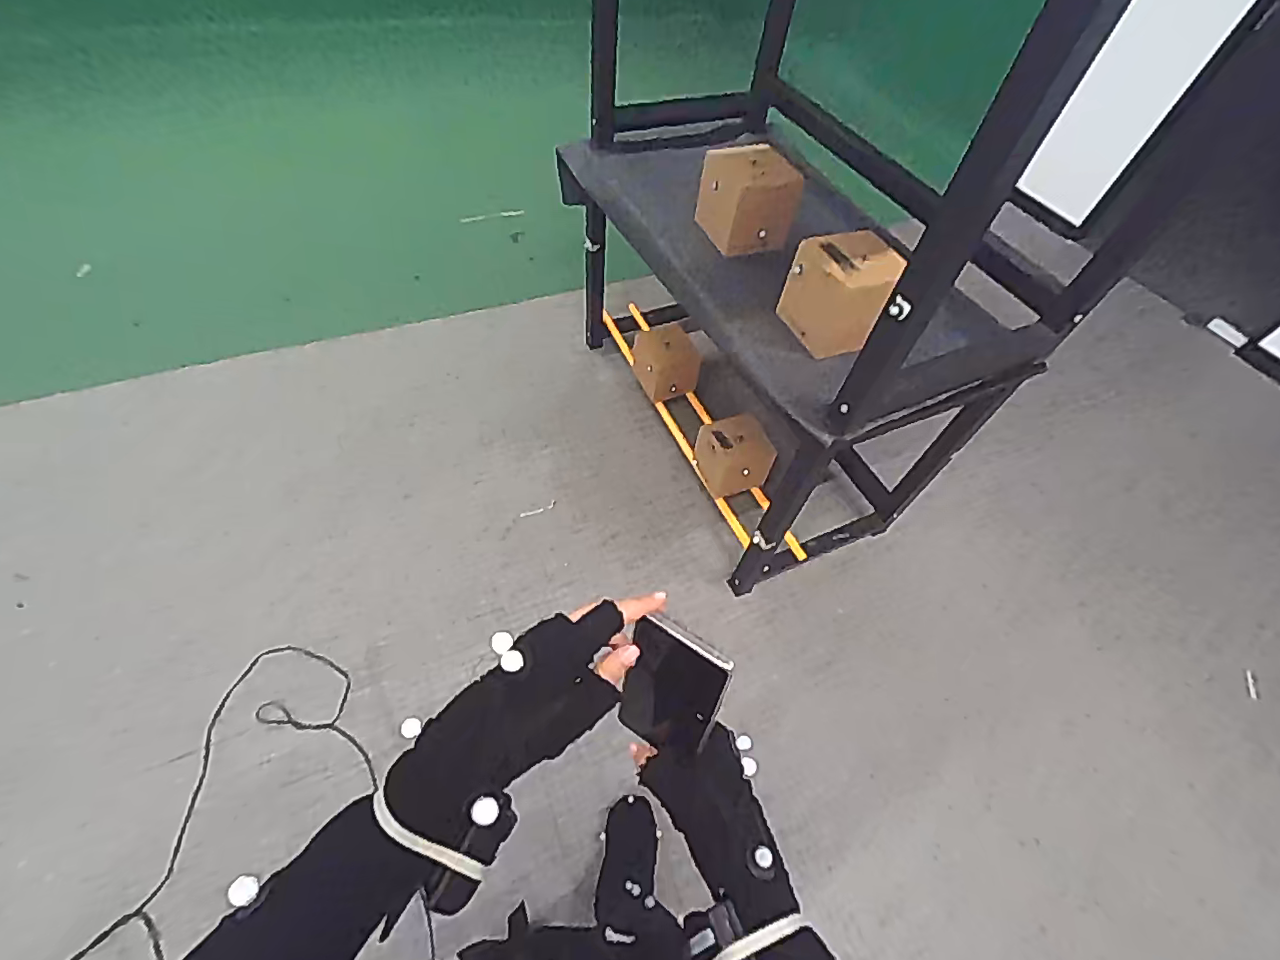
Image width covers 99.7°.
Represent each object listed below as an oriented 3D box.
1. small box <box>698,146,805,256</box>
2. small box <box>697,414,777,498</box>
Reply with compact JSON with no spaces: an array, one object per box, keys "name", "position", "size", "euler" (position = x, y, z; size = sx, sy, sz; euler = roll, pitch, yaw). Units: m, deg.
[{"name":"small box","position":[0.252,-0.658,1.277],"size":[0.168,0.176,0.179],"euler":[-16,58,-16]},{"name":"small box","position":[0.281,-0.068,1.628],"size":[0.179,0.176,0.168],"euler":[-16,58,-16]}]
